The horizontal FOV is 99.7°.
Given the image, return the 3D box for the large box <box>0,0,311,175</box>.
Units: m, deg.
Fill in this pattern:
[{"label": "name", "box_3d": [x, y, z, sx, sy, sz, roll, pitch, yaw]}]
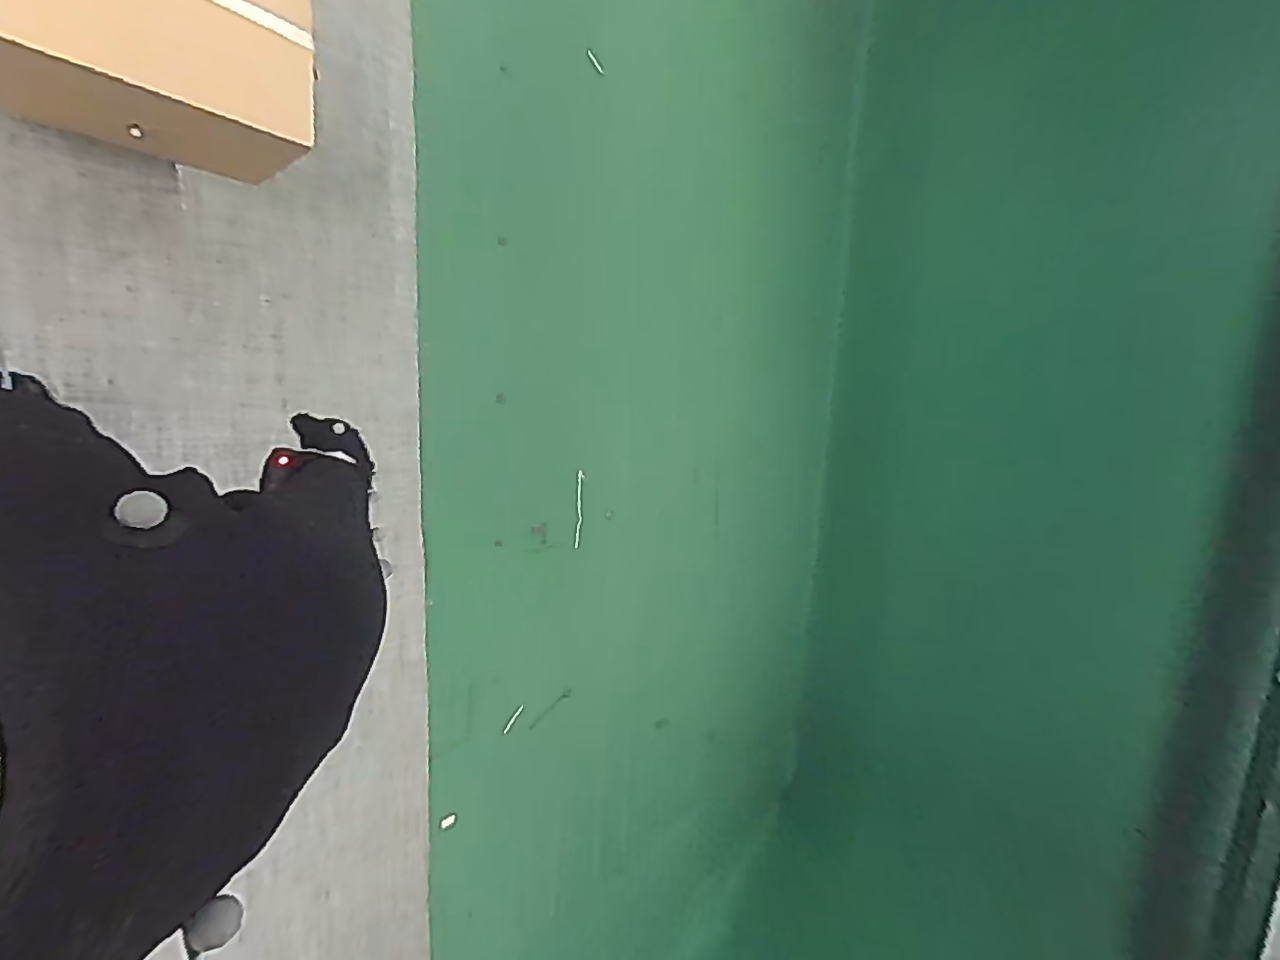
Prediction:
[{"label": "large box", "box_3d": [-0.783, -0.721, 0.828, 0.408, 0.320, 0.320, -6, 103, -50]}]
